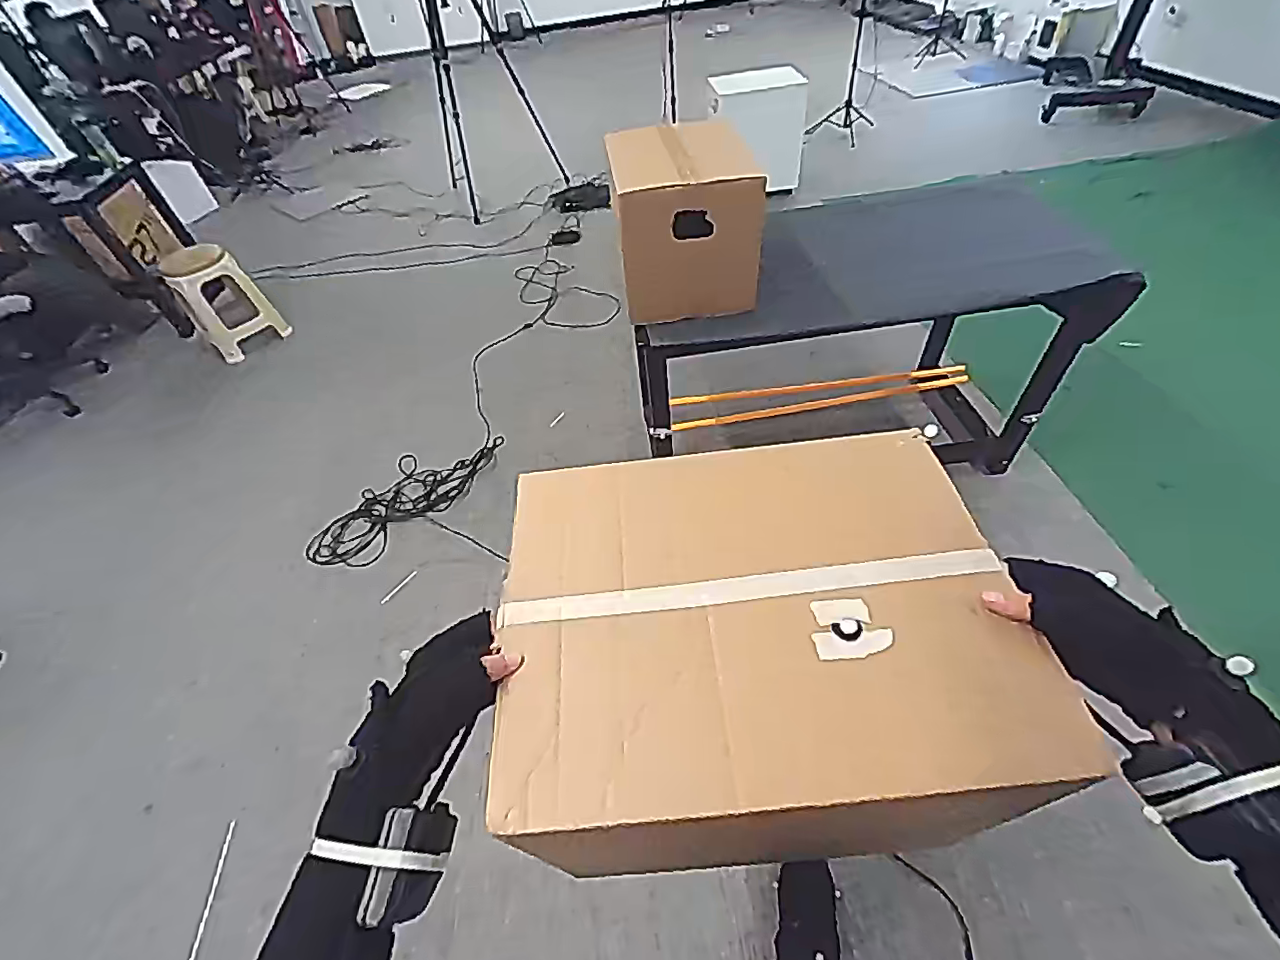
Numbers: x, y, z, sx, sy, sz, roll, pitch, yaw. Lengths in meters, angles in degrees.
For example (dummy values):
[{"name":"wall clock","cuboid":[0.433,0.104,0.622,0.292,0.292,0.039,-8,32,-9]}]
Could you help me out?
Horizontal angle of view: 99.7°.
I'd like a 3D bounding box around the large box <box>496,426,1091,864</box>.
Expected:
[{"name":"large box","cuboid":[0.099,0.177,0.561,0.408,0.320,0.320,-6,50,1]}]
